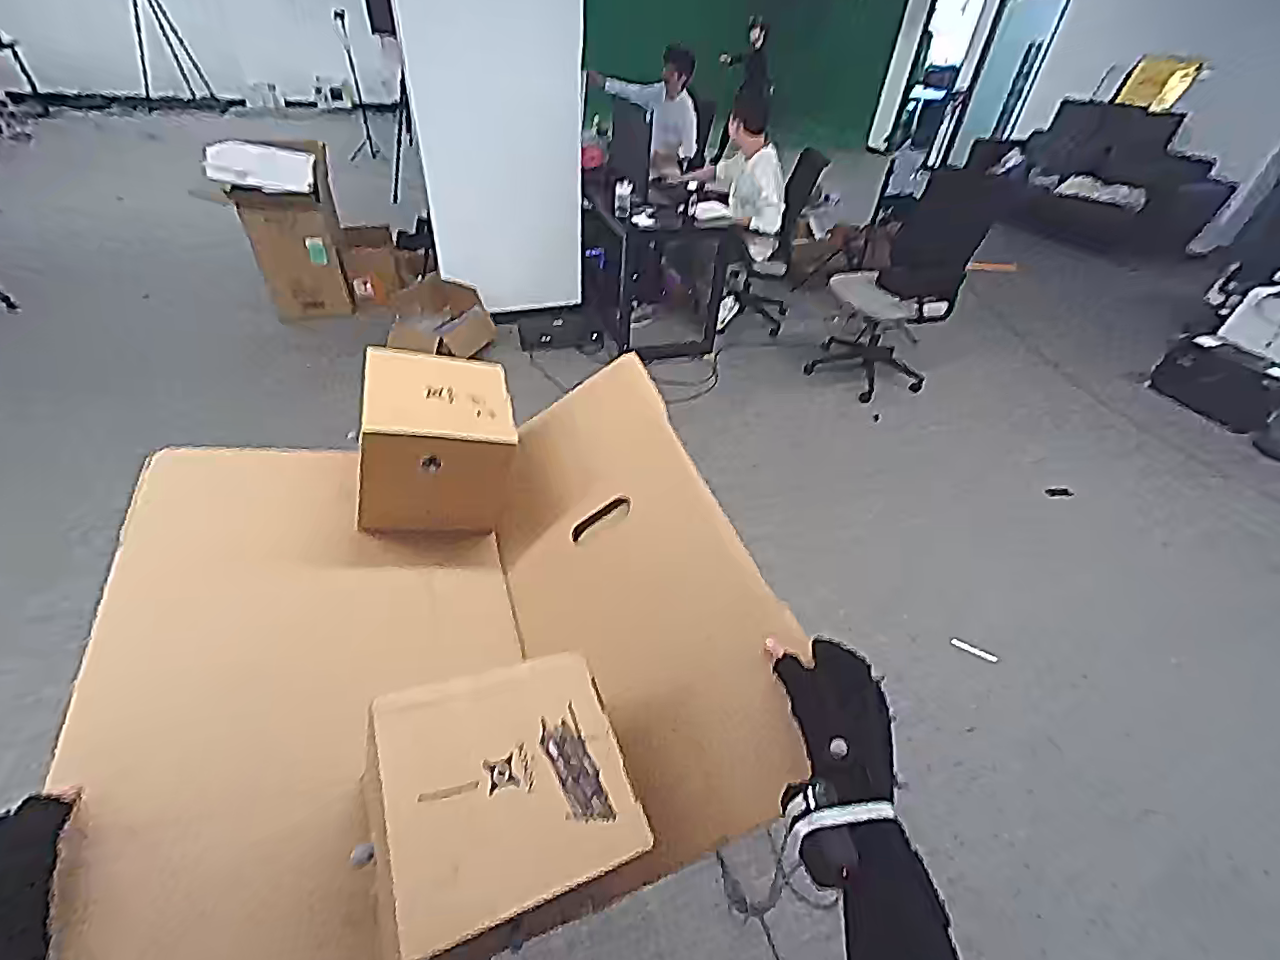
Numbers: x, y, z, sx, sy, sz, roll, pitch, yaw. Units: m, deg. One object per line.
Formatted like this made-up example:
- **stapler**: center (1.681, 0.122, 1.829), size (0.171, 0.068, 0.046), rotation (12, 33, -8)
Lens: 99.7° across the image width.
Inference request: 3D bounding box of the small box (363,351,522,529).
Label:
- **small box**: center (-0.271, -0.047, 0.732), size (0.179, 0.176, 0.168), rotation (5, 43, -26)
